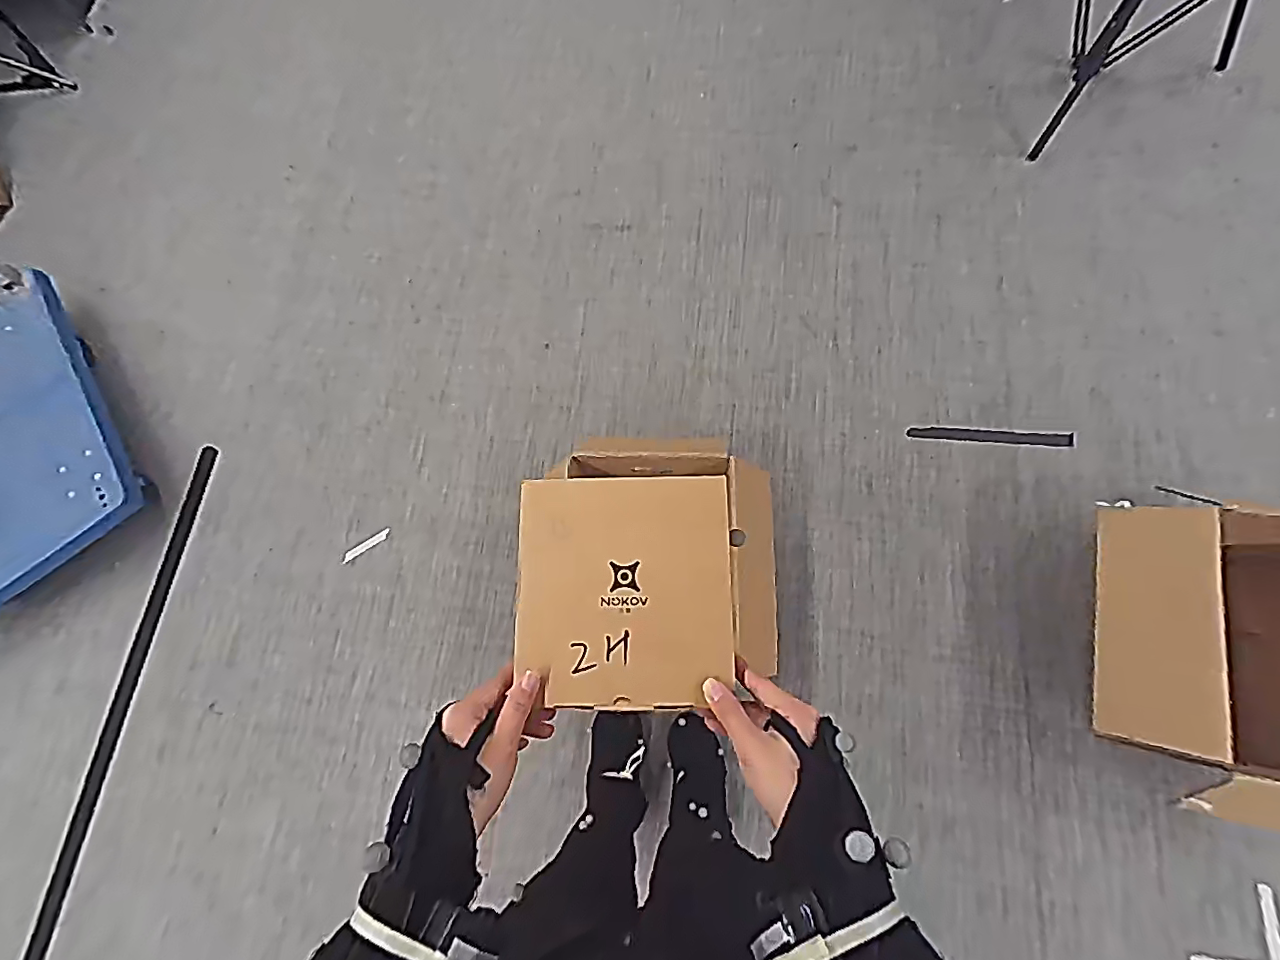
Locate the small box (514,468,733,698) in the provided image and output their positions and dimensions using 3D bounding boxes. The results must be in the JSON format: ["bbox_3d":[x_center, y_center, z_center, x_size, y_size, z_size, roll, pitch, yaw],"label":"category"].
[{"bbox_3d":[-0.009,0.094,0.495,0.168,0.176,0.179,-1,77,3],"label":"small box"}]
